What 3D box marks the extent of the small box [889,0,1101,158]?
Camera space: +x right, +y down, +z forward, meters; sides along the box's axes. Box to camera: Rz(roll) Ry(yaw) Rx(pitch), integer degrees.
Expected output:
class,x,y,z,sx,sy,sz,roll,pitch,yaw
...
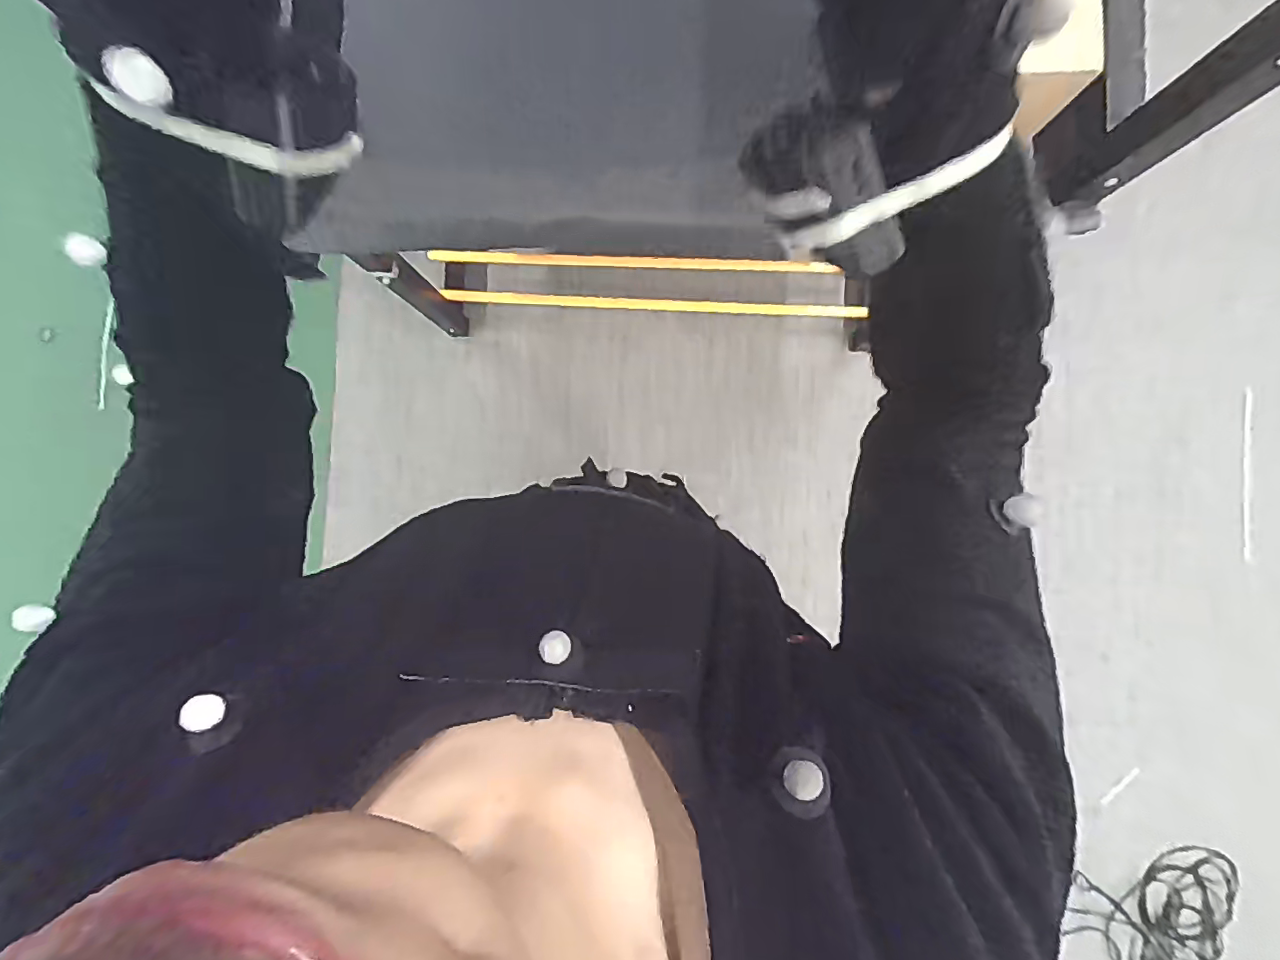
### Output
class,x,y,z,sx,sy,sz,roll,pitch,yaw
small box,0.437,-0.541,0.692,0.168,0.176,0.179,-2,88,0
